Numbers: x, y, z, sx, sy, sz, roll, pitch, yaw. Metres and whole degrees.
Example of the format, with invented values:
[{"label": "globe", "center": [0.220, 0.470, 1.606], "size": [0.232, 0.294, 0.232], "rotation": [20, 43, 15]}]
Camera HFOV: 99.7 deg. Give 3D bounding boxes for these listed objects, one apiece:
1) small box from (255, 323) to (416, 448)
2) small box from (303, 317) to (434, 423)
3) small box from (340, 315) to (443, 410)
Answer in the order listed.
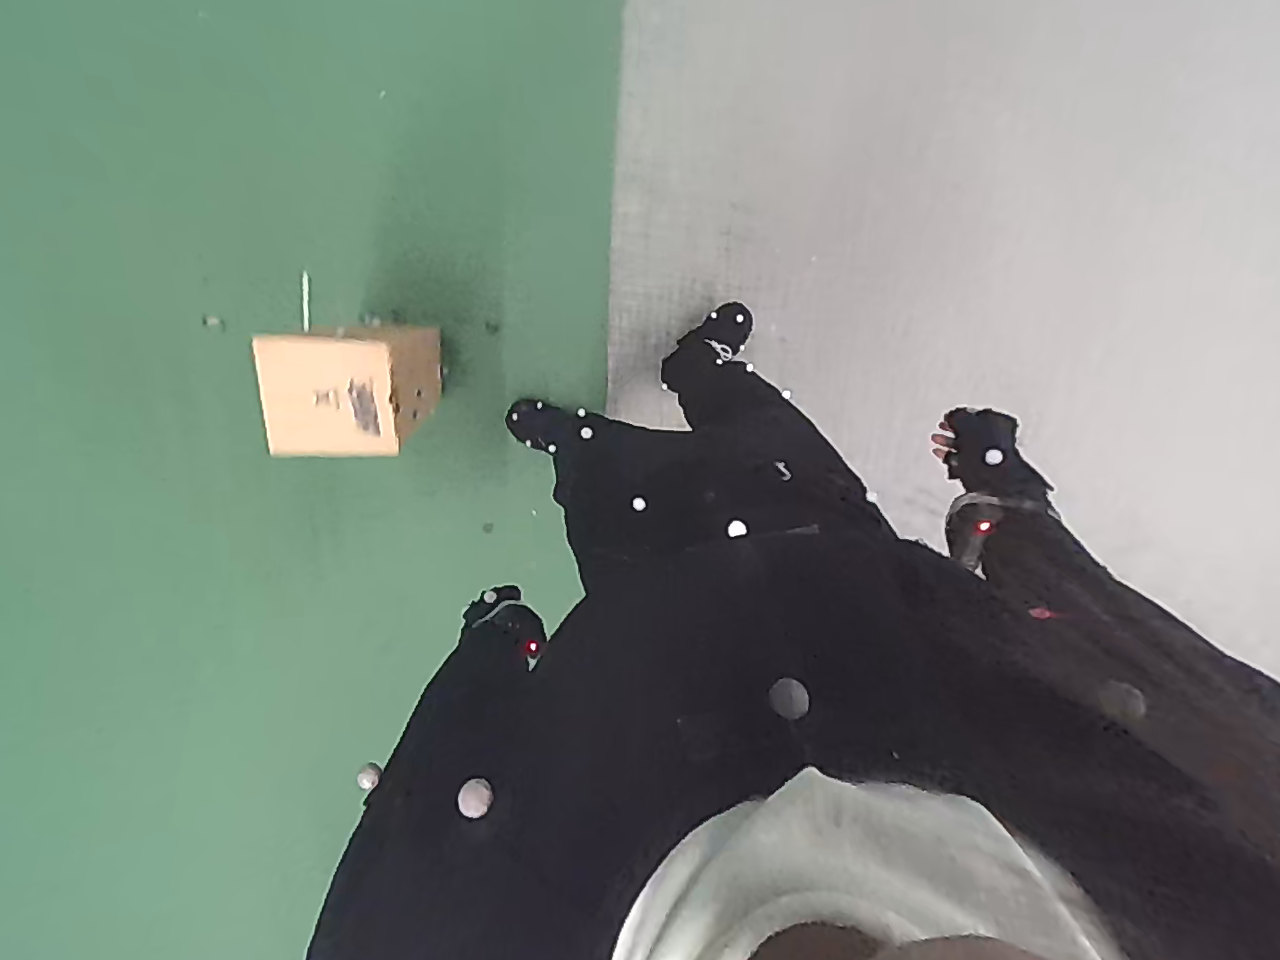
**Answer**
[{"label": "small box", "center": [-0.457, -0.153, 0.846], "size": [0.179, 0.176, 0.168], "rotation": [0, 110, -11]}, {"label": "small box", "center": [-0.489, -0.207, 0.999], "size": [0.179, 0.176, 0.168], "rotation": [1, 110, -12]}, {"label": "small box", "center": [-0.517, -0.251, 1.134], "size": [0.179, 0.176, 0.168], "rotation": [2, 111, -13]}]
